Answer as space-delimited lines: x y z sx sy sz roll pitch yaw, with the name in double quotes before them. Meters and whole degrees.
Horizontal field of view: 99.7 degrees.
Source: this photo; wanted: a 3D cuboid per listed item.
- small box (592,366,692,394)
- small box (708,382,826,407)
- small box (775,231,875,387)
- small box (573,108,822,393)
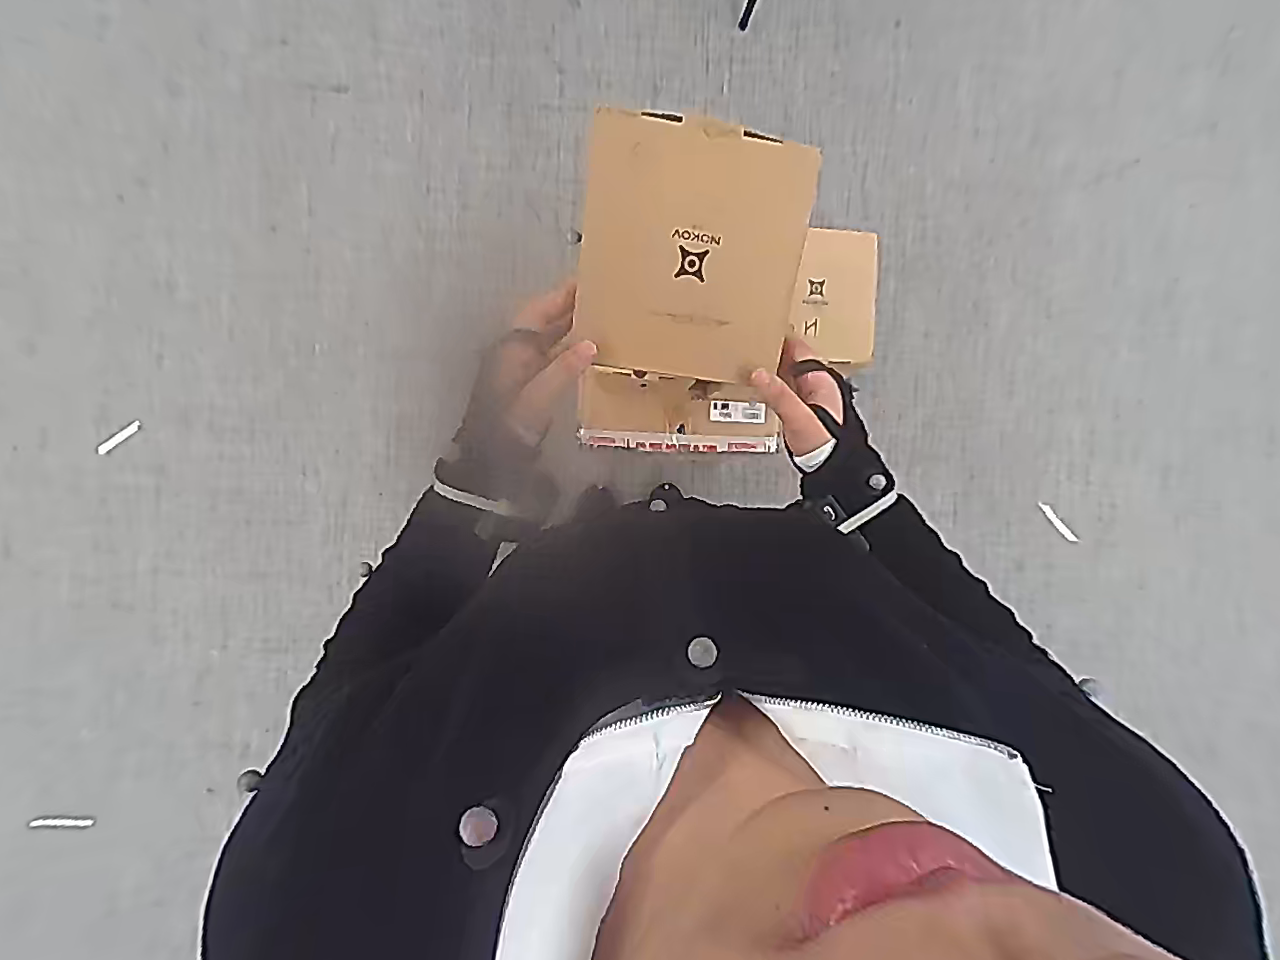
"small box" 0.011 -0.248 0.936 0.168 0.176 0.179 5 92 -2
"small box" 0.220 -0.230 0.952 0.168 0.176 0.179 4 92 -5
"small box" 0.218 -0.240 0.786 0.168 0.176 0.179 2 91 -5
"small box" 0.032 -0.184 0.476 0.168 0.176 0.179 7 106 -7
